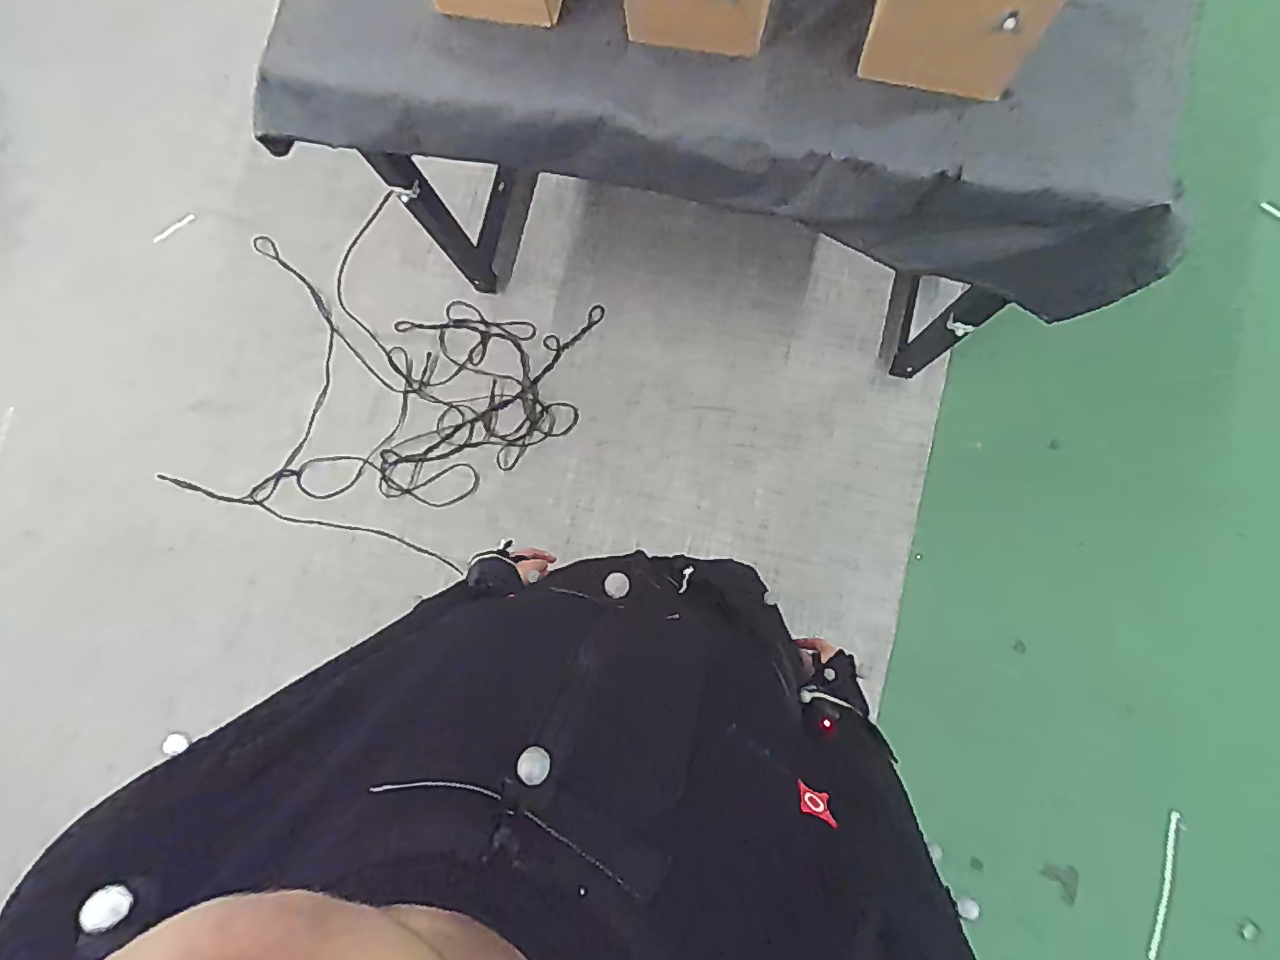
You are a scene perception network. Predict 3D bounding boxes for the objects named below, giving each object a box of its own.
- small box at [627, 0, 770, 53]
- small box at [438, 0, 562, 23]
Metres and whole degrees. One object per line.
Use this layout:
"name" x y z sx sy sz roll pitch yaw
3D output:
"small box" 0.082 -0.658 0.644 0.179 0.176 0.168 13 83 8
"small box" -0.189 -0.725 0.678 0.179 0.176 0.168 12 84 6
